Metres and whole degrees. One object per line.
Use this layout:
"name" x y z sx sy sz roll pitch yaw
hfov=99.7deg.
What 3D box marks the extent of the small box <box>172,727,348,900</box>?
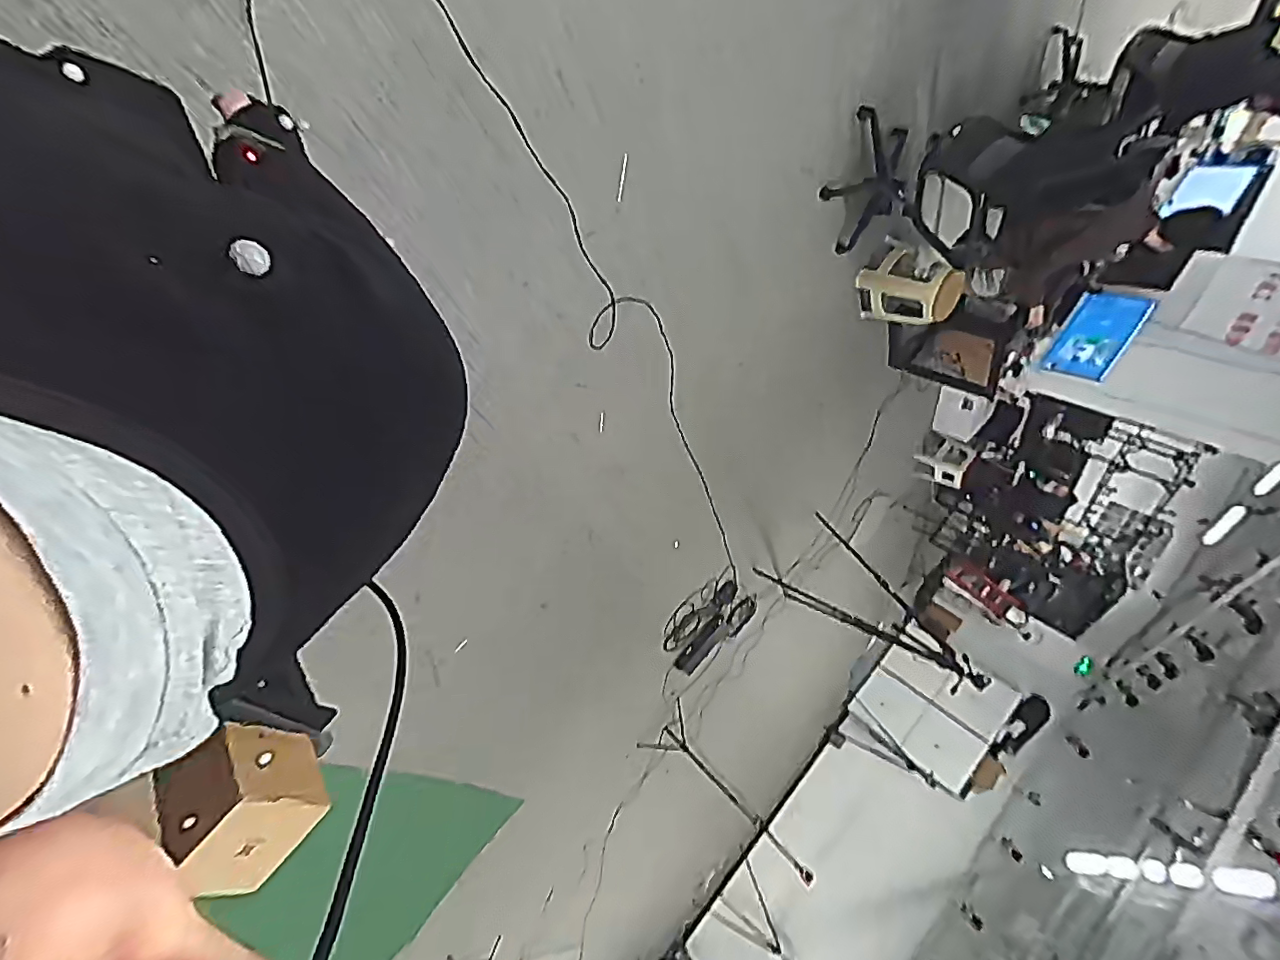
"small box" -0.637 0.546 0.903 0.179 0.176 0.168 -49 139 -7
